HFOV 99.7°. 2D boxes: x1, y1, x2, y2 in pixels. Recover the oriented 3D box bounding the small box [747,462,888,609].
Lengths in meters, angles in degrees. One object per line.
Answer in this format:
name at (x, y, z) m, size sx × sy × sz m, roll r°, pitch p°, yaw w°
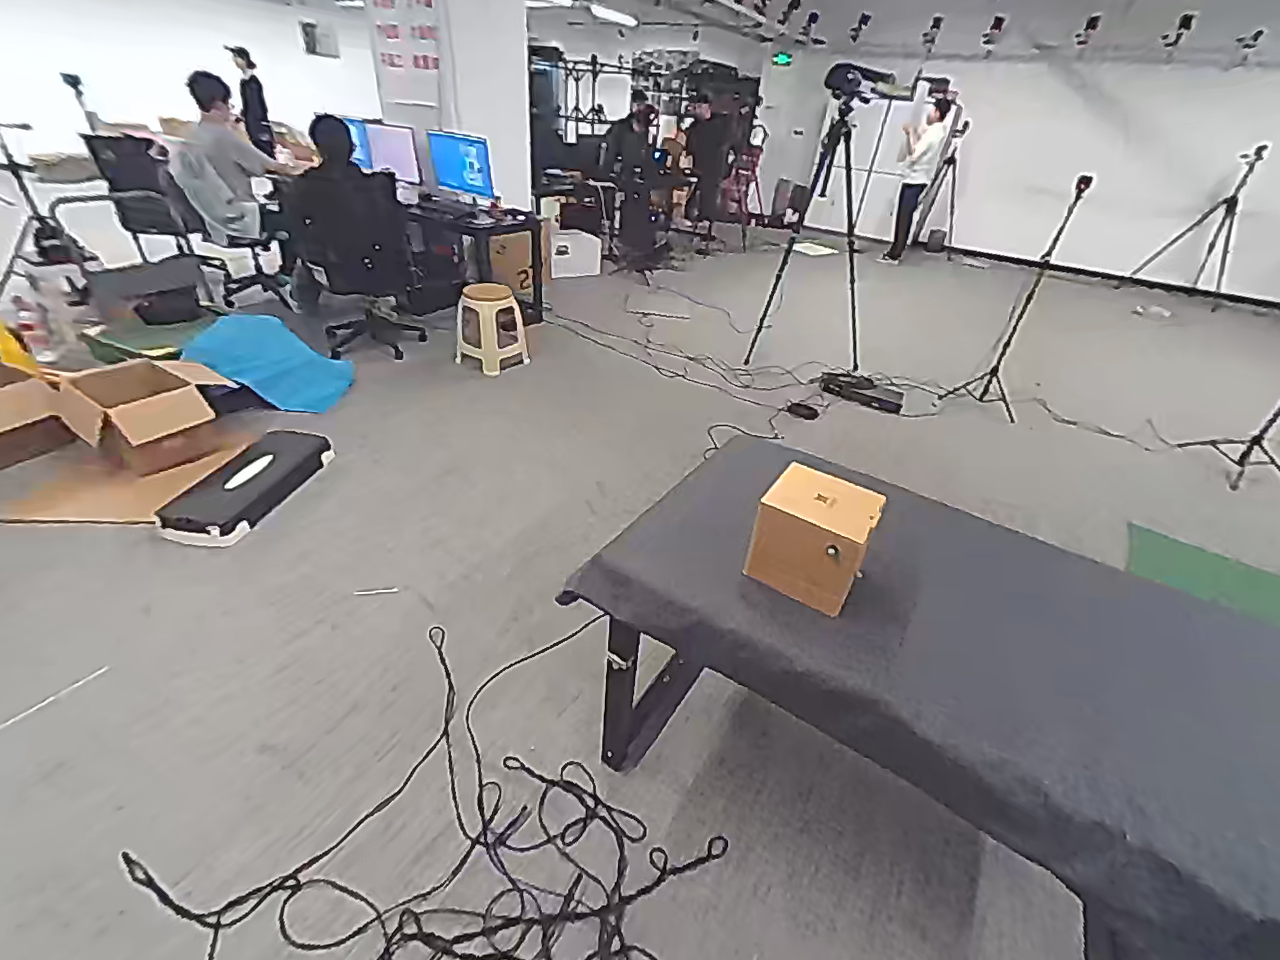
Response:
small box at (0.310, 0.097, 0.963) m, size 0.179 × 0.176 × 0.168 m, roll 24°, pitch 38°, yaw 25°
